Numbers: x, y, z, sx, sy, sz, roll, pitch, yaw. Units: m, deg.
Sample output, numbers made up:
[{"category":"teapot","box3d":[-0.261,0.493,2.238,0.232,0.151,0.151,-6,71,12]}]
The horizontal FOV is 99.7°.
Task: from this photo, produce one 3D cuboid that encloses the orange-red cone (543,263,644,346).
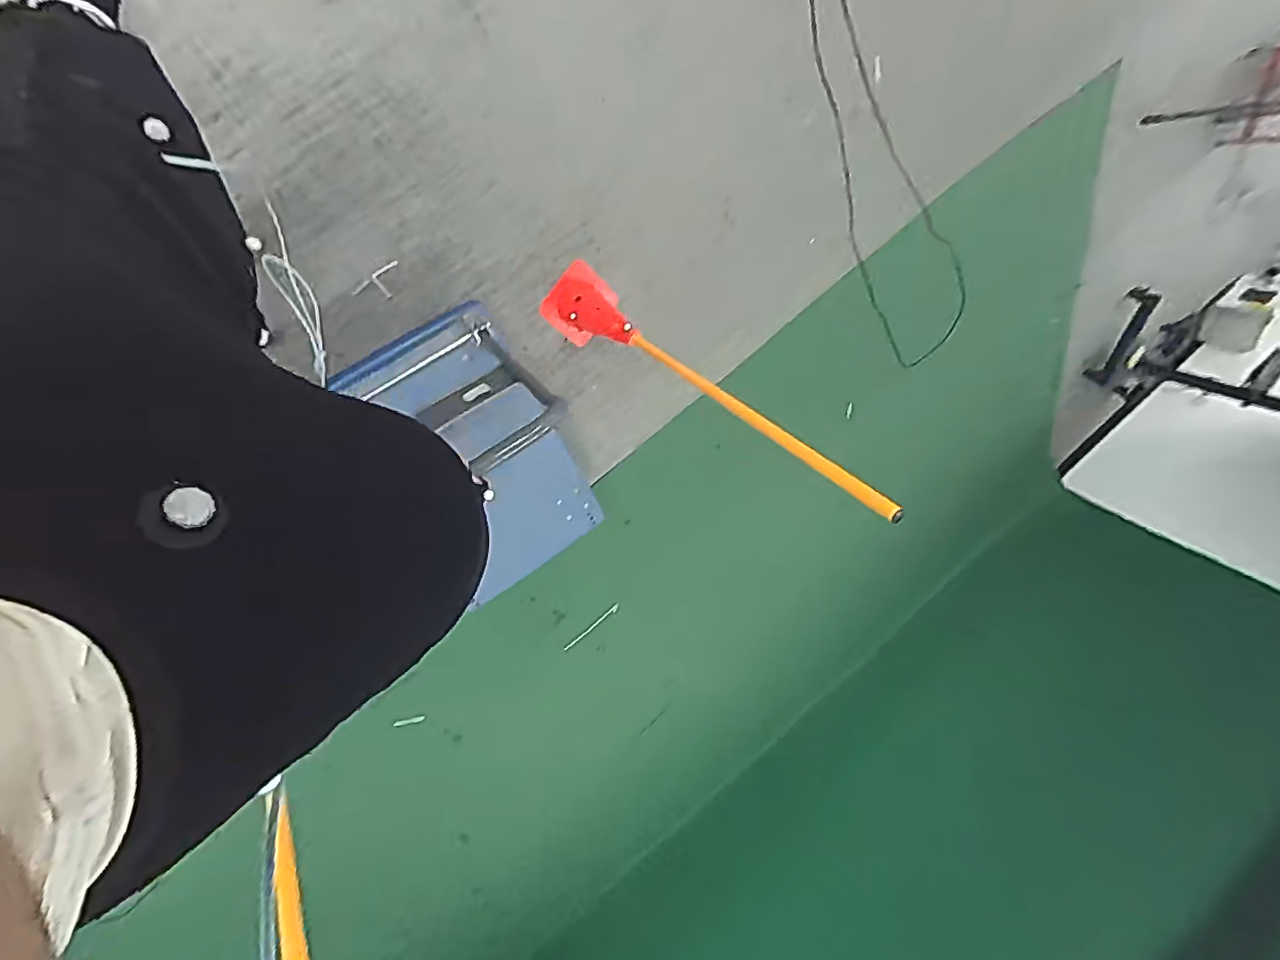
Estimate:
[{"category":"orange-red cone","box3d":[-0.093,-0.454,1.539,0.199,0.360,0.198,-51,134,4]}]
